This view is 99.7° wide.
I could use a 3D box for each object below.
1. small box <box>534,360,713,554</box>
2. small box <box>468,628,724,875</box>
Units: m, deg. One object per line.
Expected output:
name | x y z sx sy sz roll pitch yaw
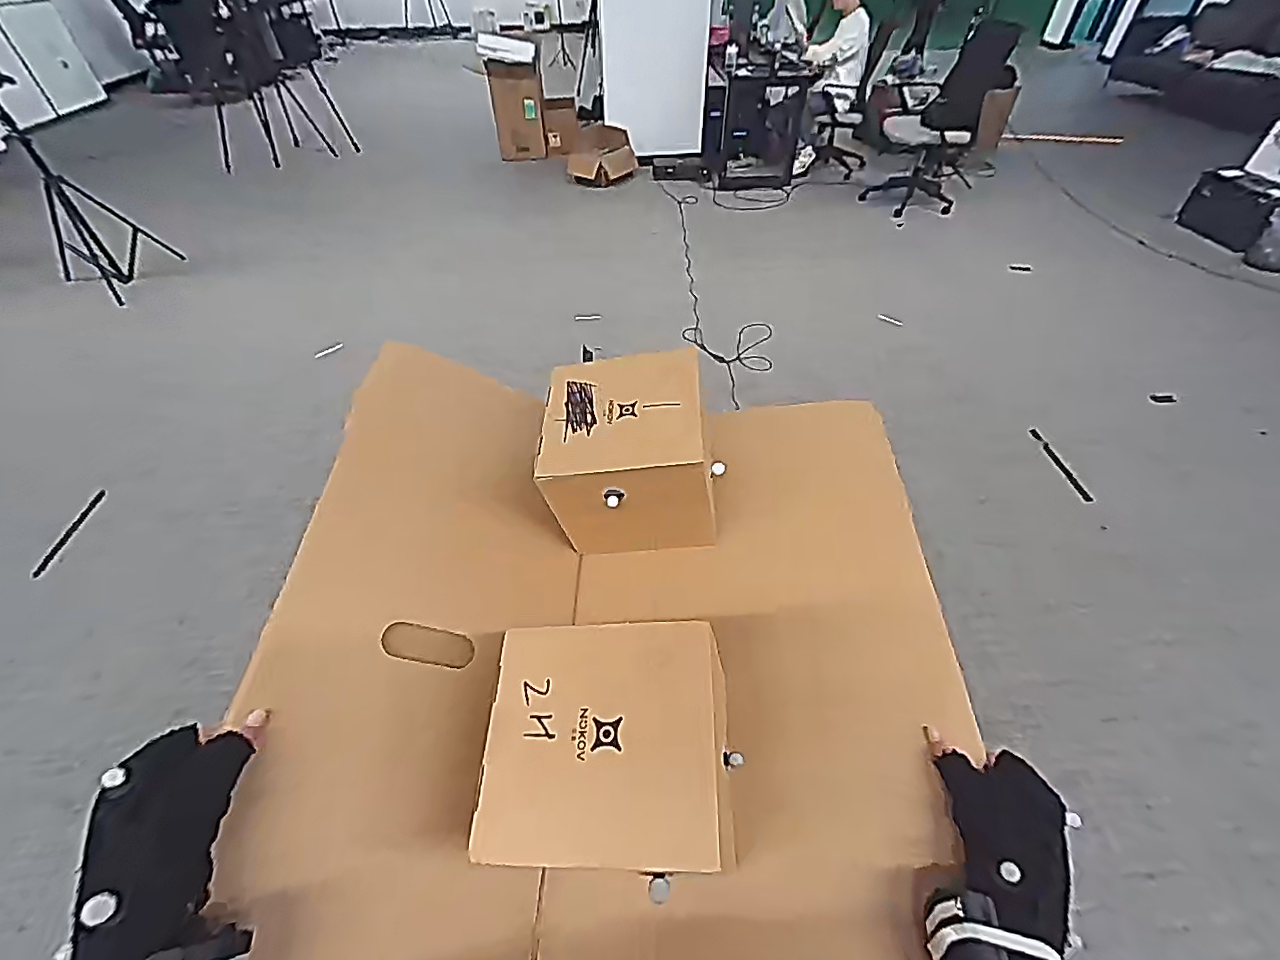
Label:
small box | -0.009 -0.020 0.658 0.179 0.176 0.168 -5 54 9
small box | -0.018 0.238 0.473 0.179 0.176 0.168 -5 53 11
